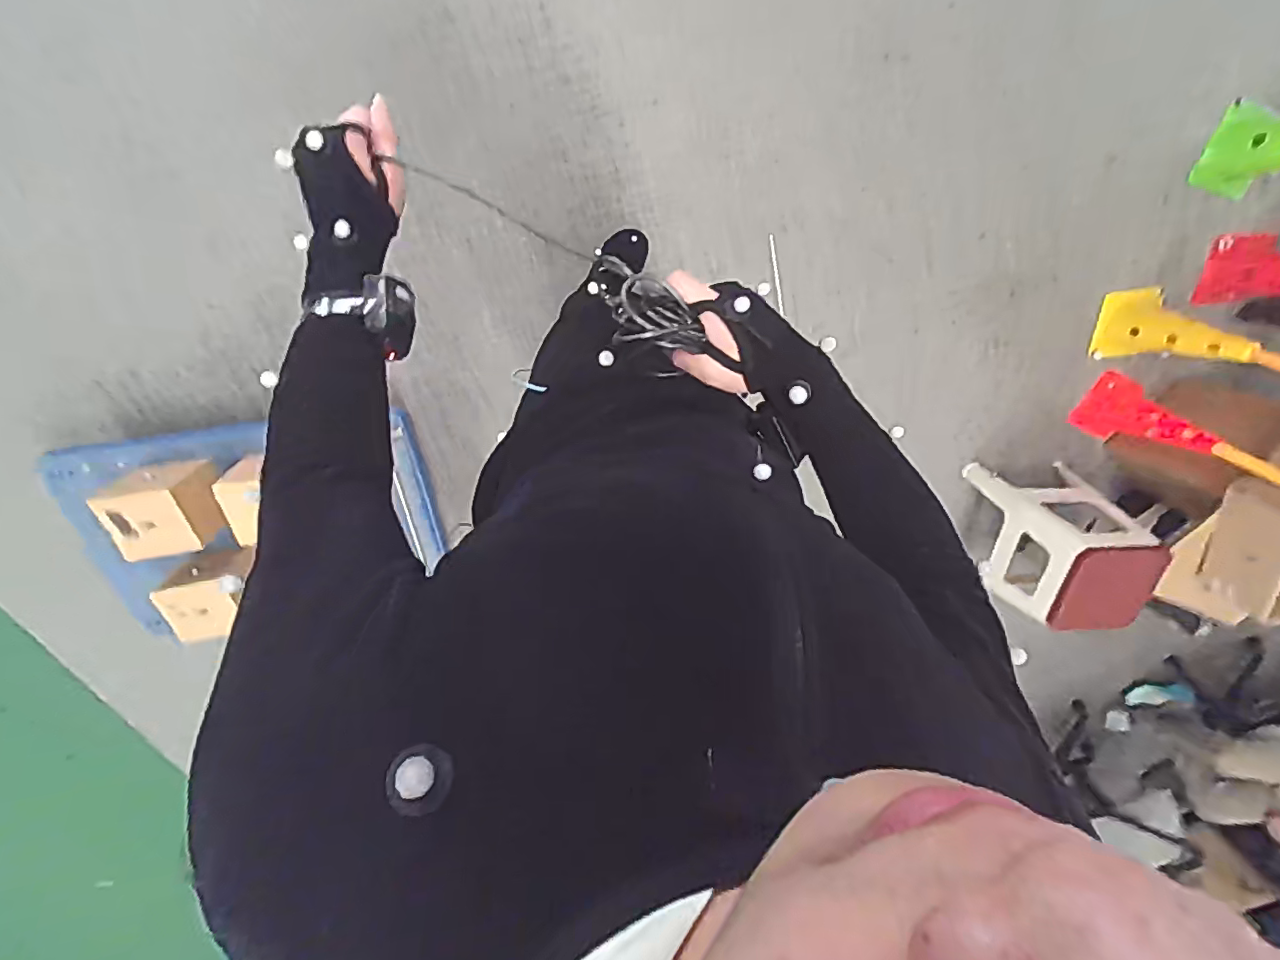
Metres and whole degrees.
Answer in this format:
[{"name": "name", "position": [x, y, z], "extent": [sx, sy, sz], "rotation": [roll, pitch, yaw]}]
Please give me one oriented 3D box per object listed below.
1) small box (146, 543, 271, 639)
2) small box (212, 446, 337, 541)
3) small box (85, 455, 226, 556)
[{"name": "small box", "position": [-1.105, 0.282, 1.410], "extent": [0.179, 0.176, 0.168], "rotation": [-10, 117, -3]}, {"name": "small box", "position": [-0.877, 0.029, 1.317], "extent": [0.179, 0.176, 0.168], "rotation": [-7, 117, -6]}, {"name": "small box", "position": [-1.130, 0.055, 1.290], "extent": [0.179, 0.176, 0.168], "rotation": [-10, 119, -5]}]
